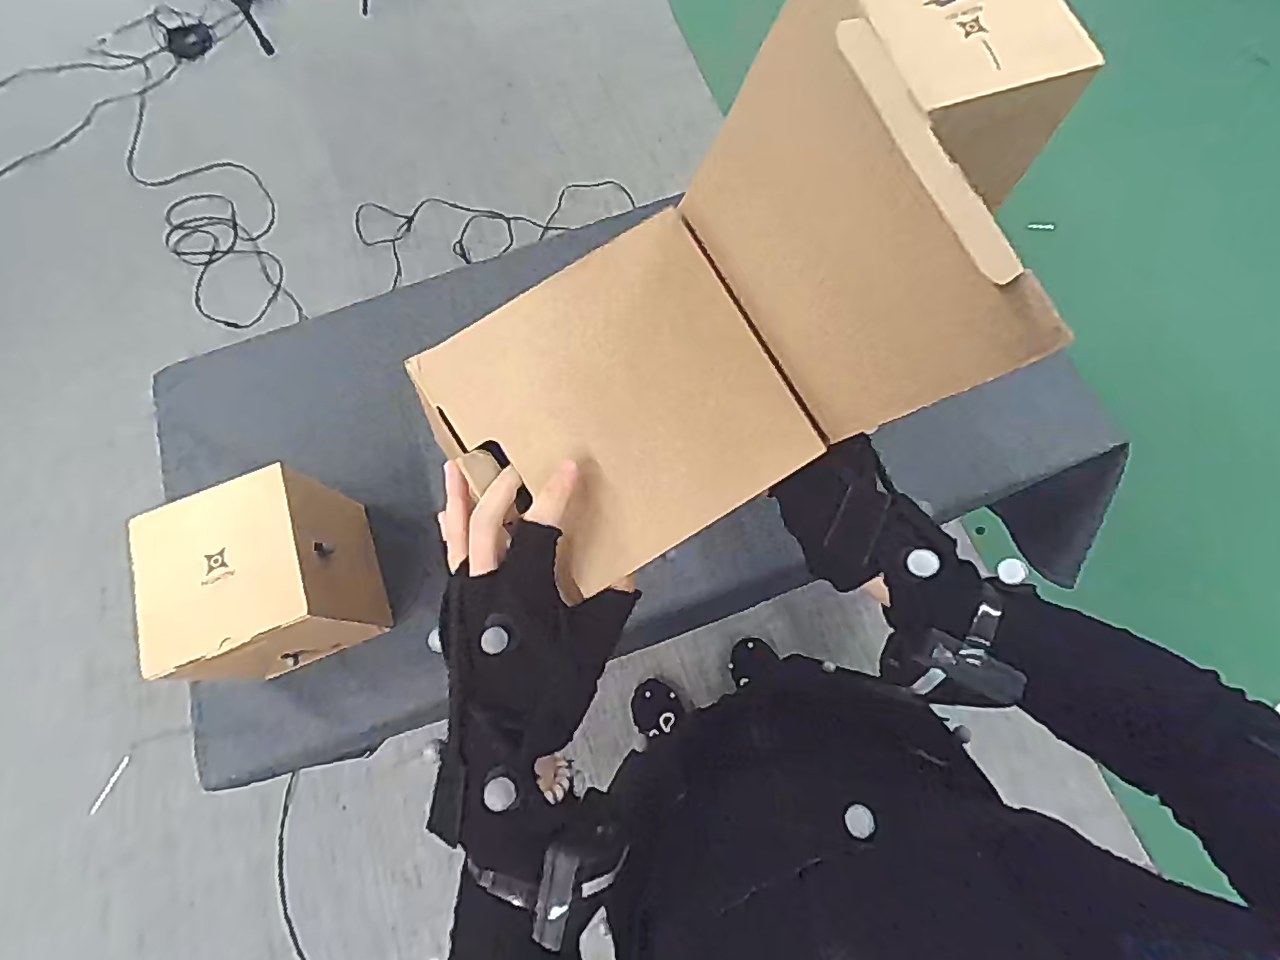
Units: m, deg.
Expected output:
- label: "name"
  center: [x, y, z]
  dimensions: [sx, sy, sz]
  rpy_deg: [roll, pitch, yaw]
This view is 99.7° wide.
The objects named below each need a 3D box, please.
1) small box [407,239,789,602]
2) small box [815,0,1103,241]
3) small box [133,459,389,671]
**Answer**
- label: "small box"
  center: [-0.035, -0.029, 0.394]
  dimensions: [0.179, 0.176, 0.168]
  rpy_deg: [-31, 90, -16]
- label: "small box"
  center: [0.299, -0.387, 0.557]
  dimensions: [0.168, 0.176, 0.179]
  rpy_deg: [-15, 73, 0]
- label: "small box"
  center: [-0.419, 0.105, 0.620]
  dimensions: [0.168, 0.176, 0.179]
  rpy_deg: [-22, 72, -4]
